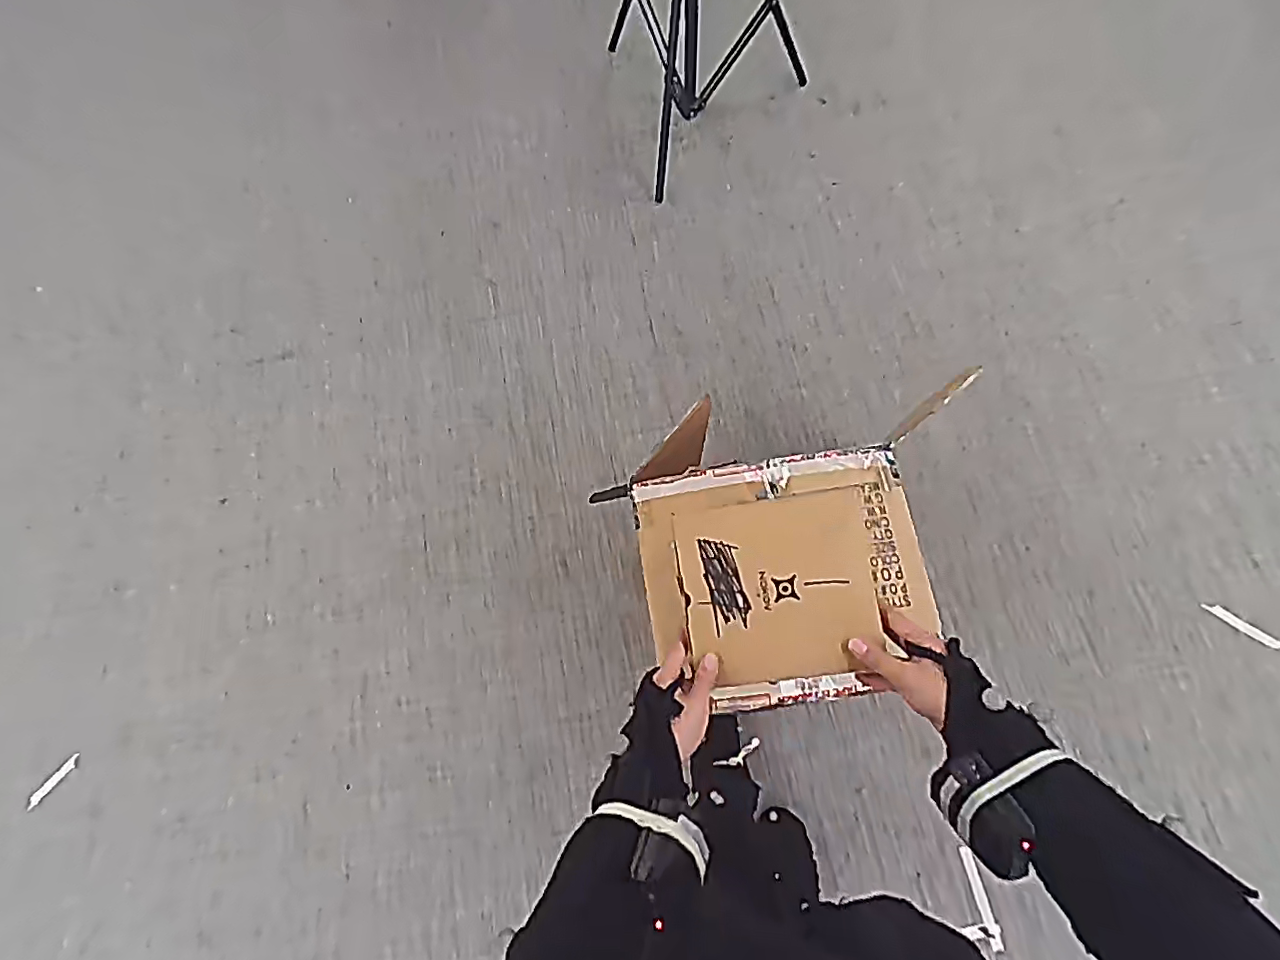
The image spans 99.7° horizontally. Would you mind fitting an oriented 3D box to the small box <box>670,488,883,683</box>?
[{"bbox_3d":[0.134,0.107,0.582,0.179,0.176,0.168,-9,84,6],"label":"small box"}]
